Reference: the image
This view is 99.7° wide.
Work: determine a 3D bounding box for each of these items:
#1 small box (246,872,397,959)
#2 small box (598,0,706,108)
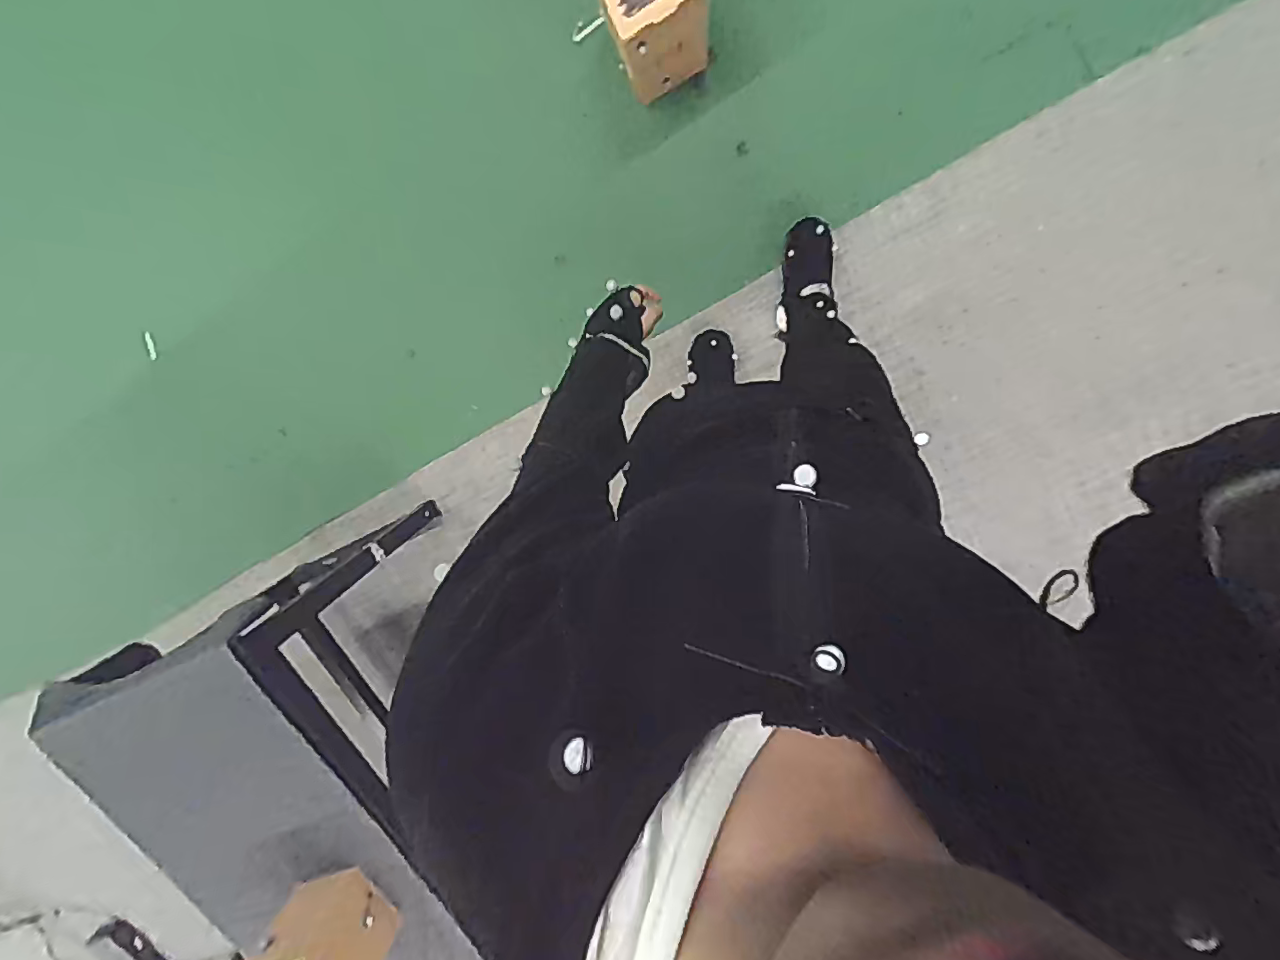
[{"bbox_3d":[-0.622,0.919,1.058,0.179,0.176,0.168,-26,104,15],"label":"small box"},{"bbox_3d":[0.028,-0.931,1.133,0.168,0.176,0.179,-23,105,14],"label":"small box"}]
